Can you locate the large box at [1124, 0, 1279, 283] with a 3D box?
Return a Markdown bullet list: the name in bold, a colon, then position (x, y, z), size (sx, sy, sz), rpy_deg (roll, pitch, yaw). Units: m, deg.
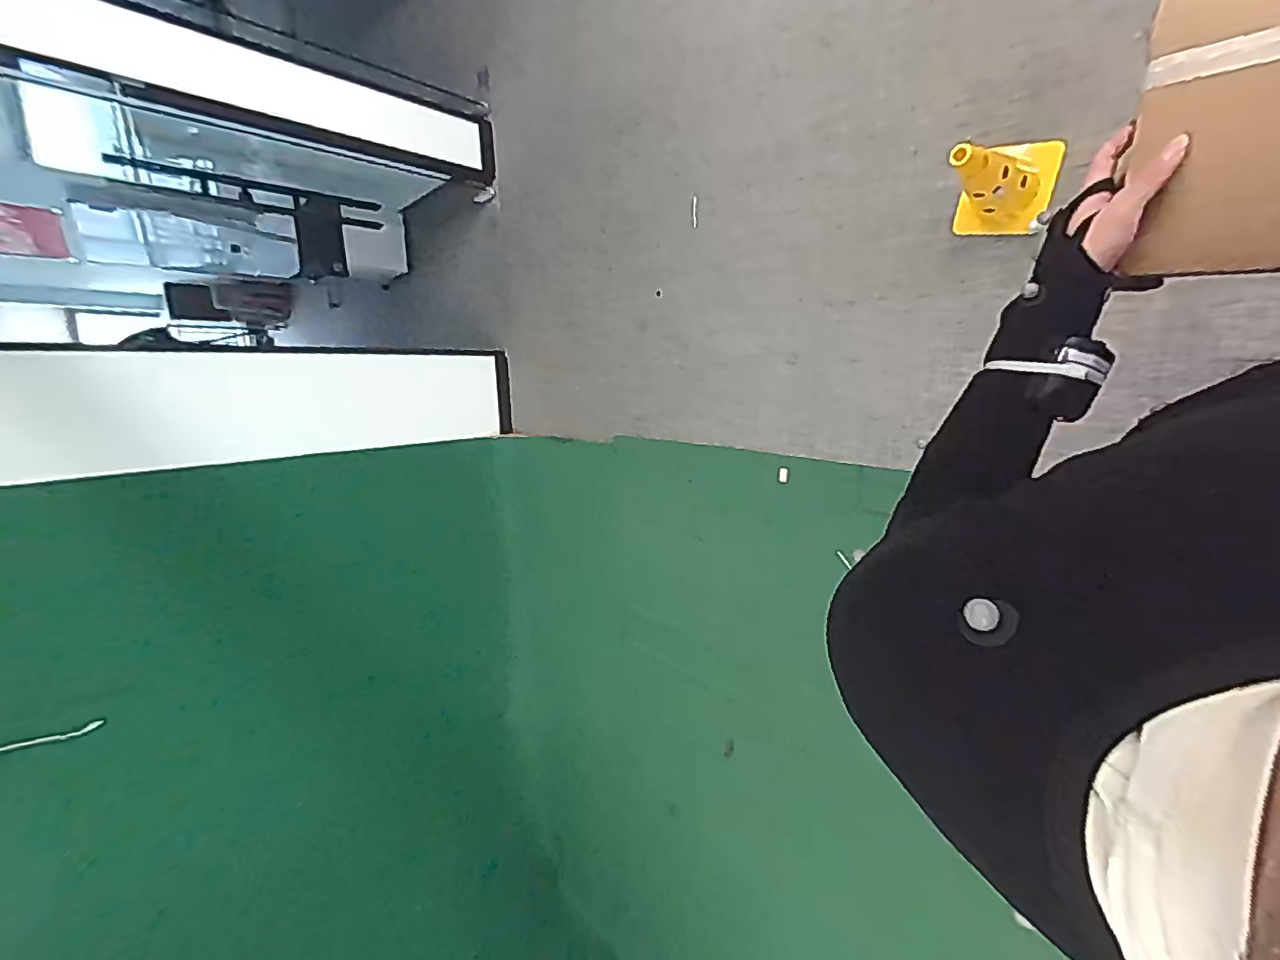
- **large box**: position (0.672, -0.330, 0.408), size (0.408, 0.320, 0.320), rpy_deg (14, 115, 45)
